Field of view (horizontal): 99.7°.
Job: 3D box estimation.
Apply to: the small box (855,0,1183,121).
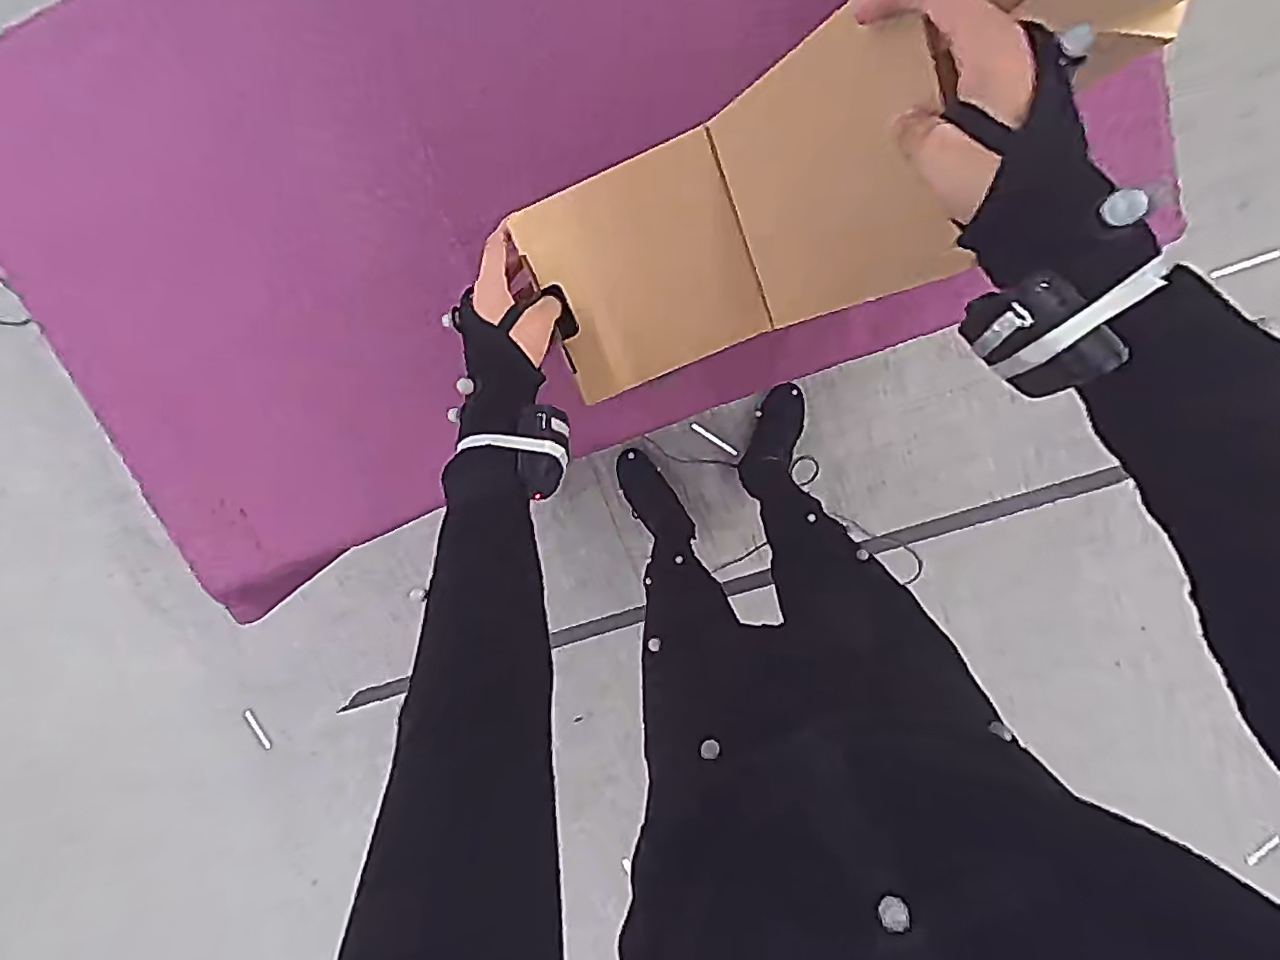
[{"bbox_3d":[0.305,-0.420,0.443,0.179,0.176,0.168,6,105,0],"label":"small box"}]
